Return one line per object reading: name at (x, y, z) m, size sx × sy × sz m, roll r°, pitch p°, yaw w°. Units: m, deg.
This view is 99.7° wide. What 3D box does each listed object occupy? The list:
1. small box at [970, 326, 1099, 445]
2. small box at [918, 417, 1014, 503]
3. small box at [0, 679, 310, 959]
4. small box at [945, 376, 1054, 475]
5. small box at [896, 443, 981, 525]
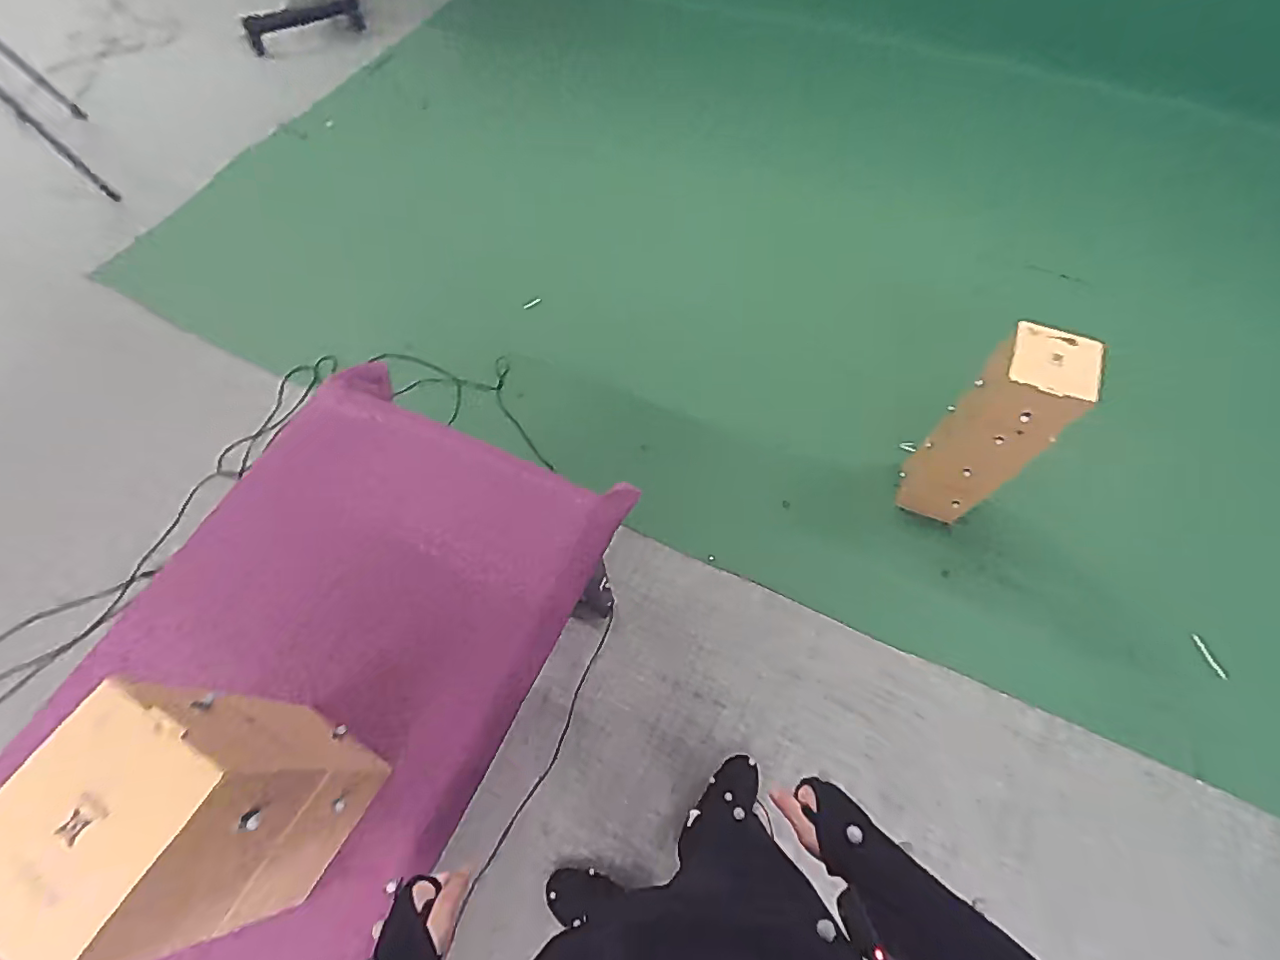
small box at (0.871, -0.205, 1.207) m, size 0.168 × 0.176 × 0.179 m, roll 22°, pitch 66°, yaw 13°
small box at (0.907, -0.057, 1.498) m, size 0.179 × 0.176 × 0.168 m, roll 20°, pitch 65°, yaw 12°
small box at (-0.464, 0.324, 0.523) m, size 0.168 × 0.176 × 0.179 m, roll 26°, pitch 66°, yaw 15°
small box at (0.895, -0.133, 1.353) m, size 0.179 × 0.176 × 0.168 m, roll 19°, pitch 65°, yaw 11°
small box at (0.910, 0.018, 1.641) m, size 0.179 × 0.176 × 0.168 m, roll 19°, pitch 64°, yaw 11°
